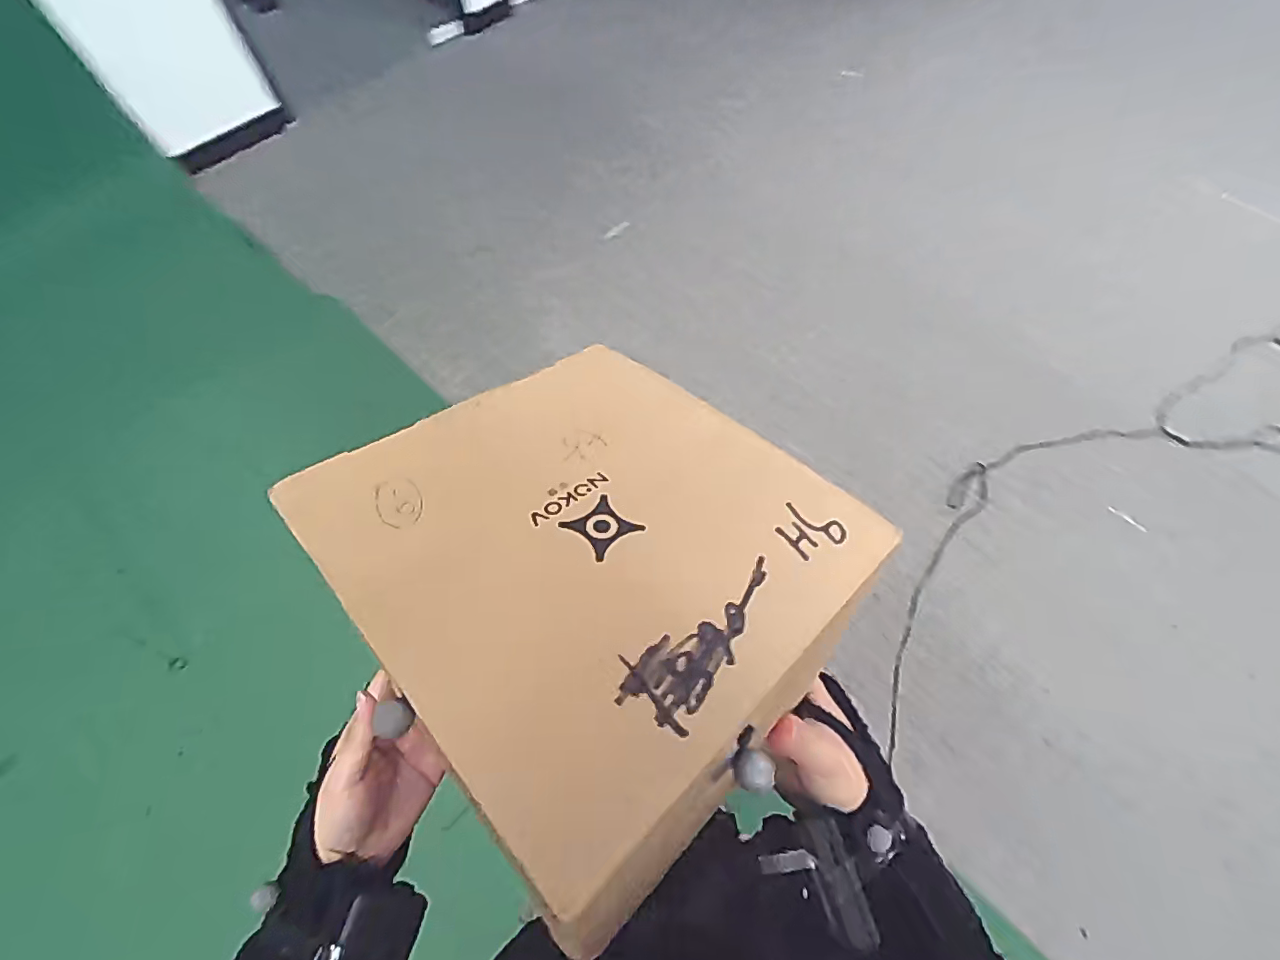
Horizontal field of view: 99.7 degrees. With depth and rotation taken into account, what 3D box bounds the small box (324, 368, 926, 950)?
[{"bbox_3d":[-0.010,0.078,0.263,0.168,0.176,0.179,-34,56,-31],"label":"small box"}]
